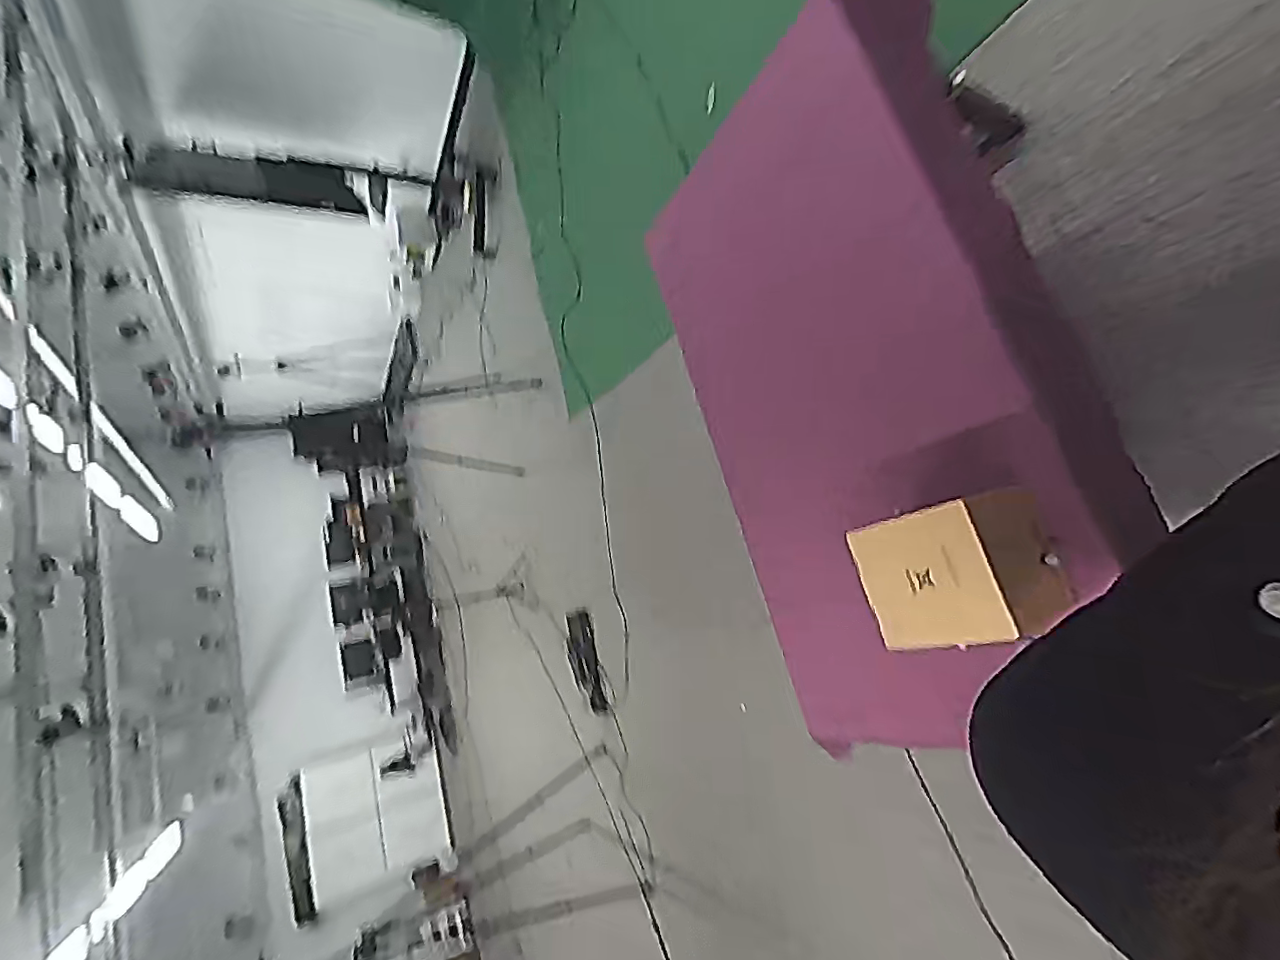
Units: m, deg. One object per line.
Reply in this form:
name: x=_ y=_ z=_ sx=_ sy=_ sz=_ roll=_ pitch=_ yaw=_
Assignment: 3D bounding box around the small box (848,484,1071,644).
small box: x=0.426 y=0.114 z=0.733 sx=0.179 sy=0.176 sz=0.168 roll=-34 pitch=68 yaw=54
